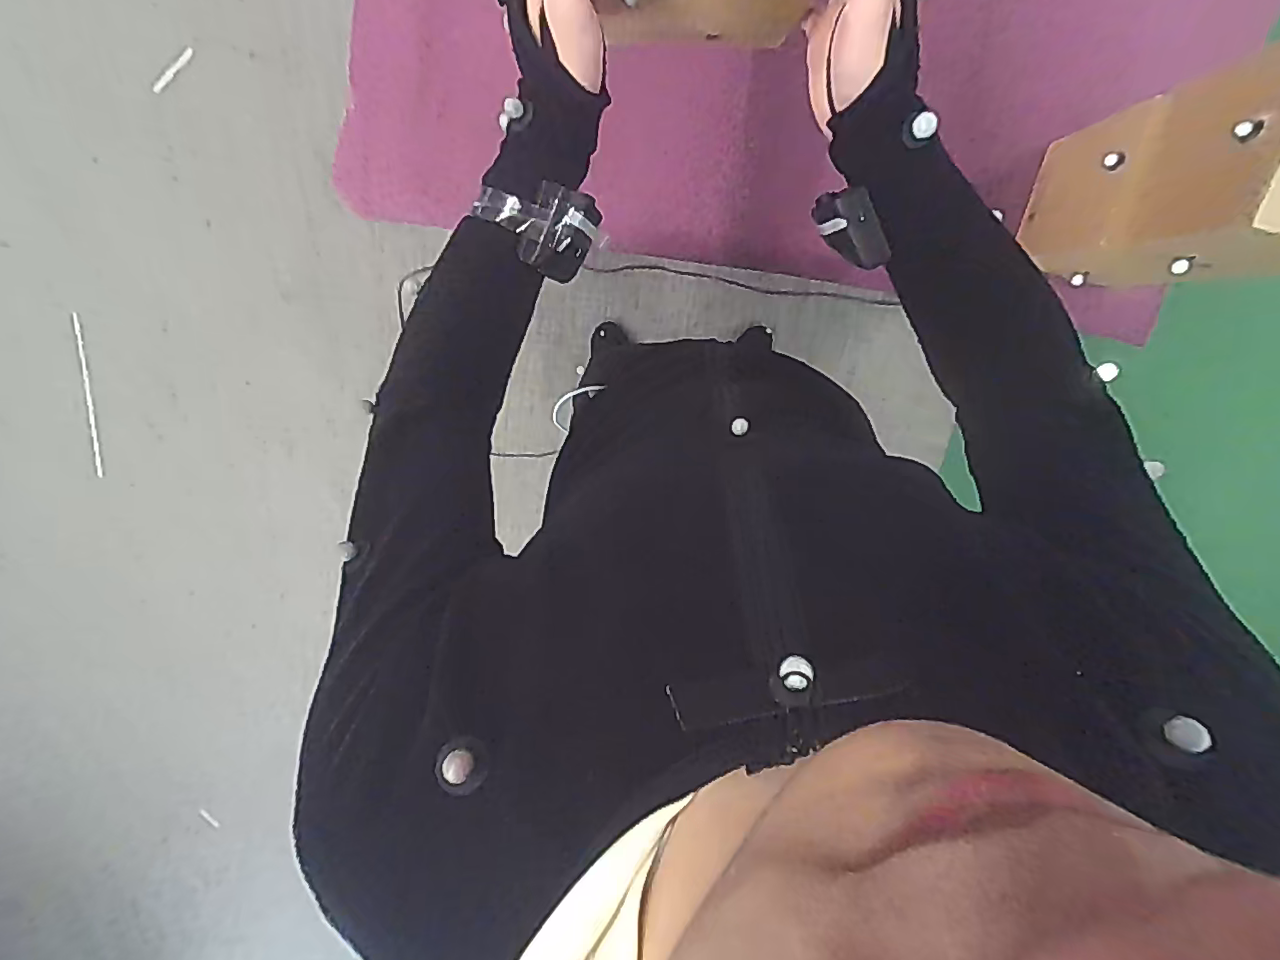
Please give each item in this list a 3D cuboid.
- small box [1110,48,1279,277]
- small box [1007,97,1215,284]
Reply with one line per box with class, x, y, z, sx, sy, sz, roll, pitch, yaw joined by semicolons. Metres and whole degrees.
small box;0.653;-0.323;0.559;0.168;0.176;0.179;11;105;-2
small box;0.647;-0.364;0.718;0.179;0.176;0.168;11;104;-5
